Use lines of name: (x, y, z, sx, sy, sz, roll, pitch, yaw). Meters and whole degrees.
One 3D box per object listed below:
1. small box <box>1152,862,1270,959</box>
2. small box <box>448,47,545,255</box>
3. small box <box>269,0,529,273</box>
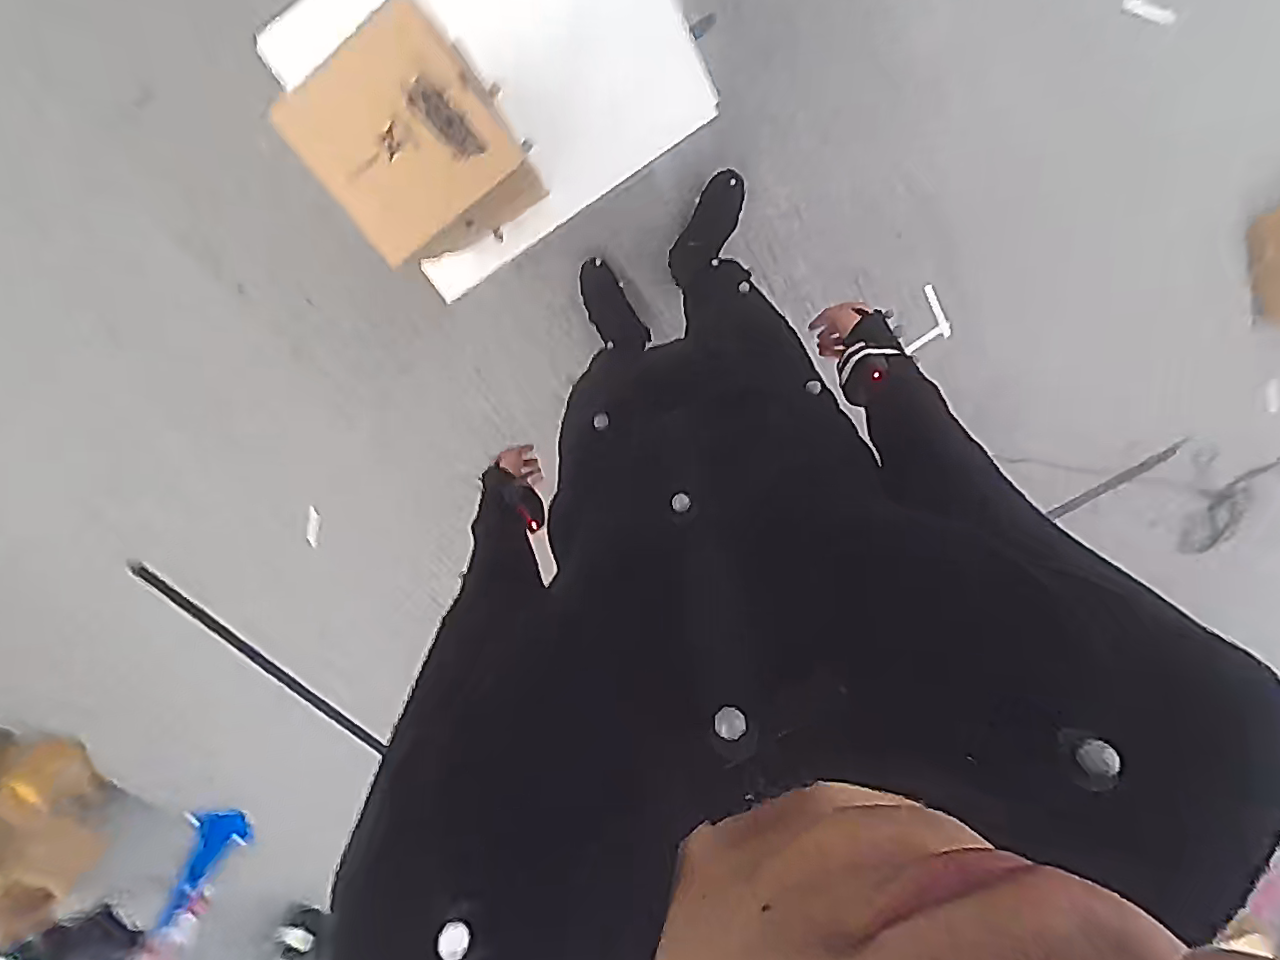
small box: (1.668, 1.271, 1.586, 0.168, 0.176, 0.179, -33, 113, 9)
small box: (-0.246, -0.423, 0.734, 0.168, 0.176, 0.179, -30, 113, 8)
small box: (-0.236, -0.352, 0.587, 0.179, 0.176, 0.168, -34, 112, 11)
